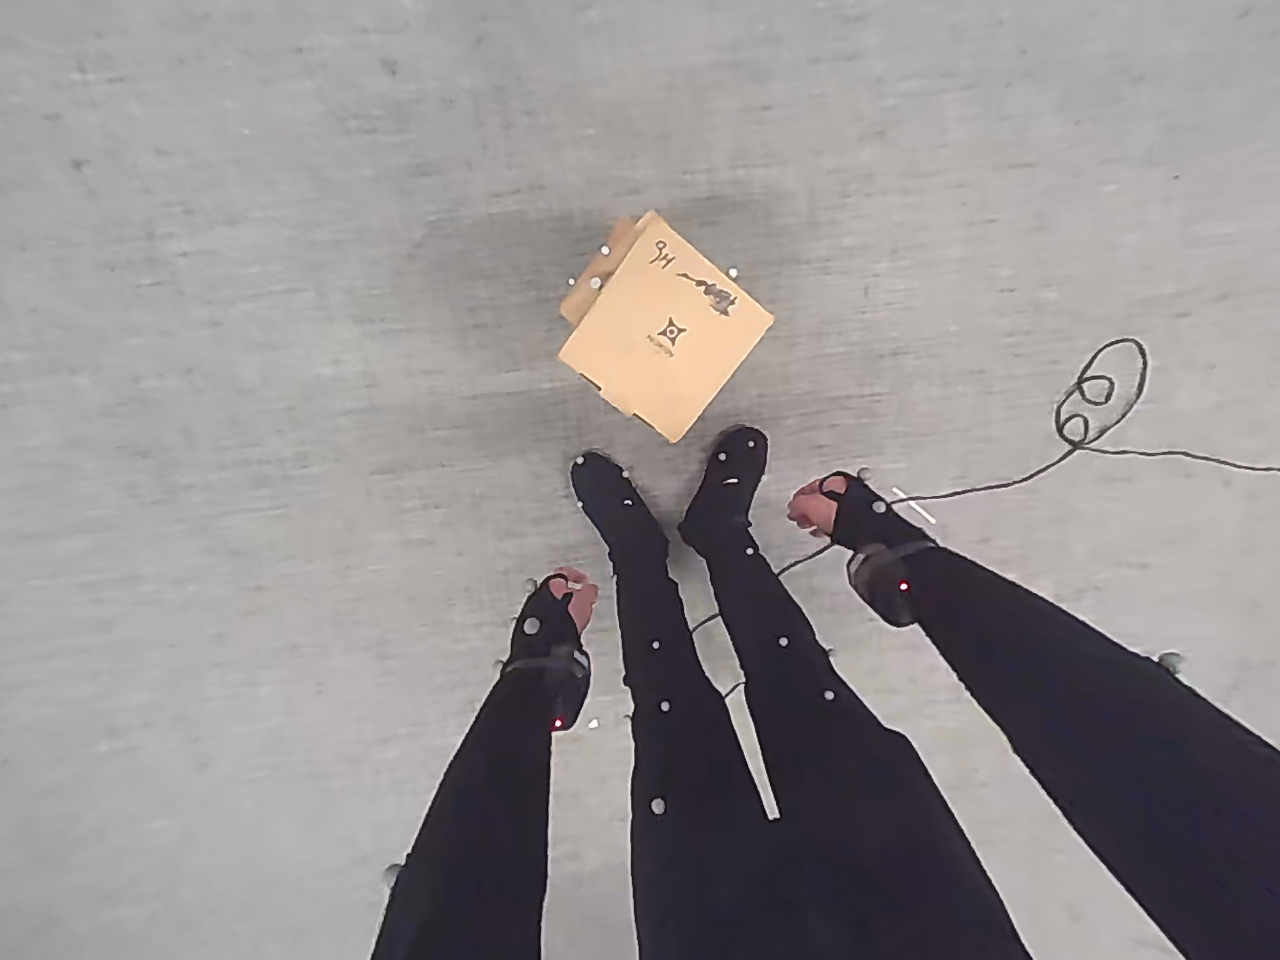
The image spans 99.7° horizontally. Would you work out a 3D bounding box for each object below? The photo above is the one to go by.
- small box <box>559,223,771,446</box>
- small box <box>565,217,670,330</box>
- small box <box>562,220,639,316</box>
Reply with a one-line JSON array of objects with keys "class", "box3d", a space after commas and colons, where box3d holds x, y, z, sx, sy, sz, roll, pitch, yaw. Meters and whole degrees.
[{"class": "small box", "box3d": [0.024, -0.175, 0.653, 0.168, 0.176, 0.179, 35, 104, -15]}, {"class": "small box", "box3d": [0.008, -0.252, 0.798, 0.168, 0.176, 0.179, 42, 102, -16]}, {"class": "small box", "box3d": [-0.017, -0.318, 0.947, 0.168, 0.176, 0.179, 35, 102, -15]}]
